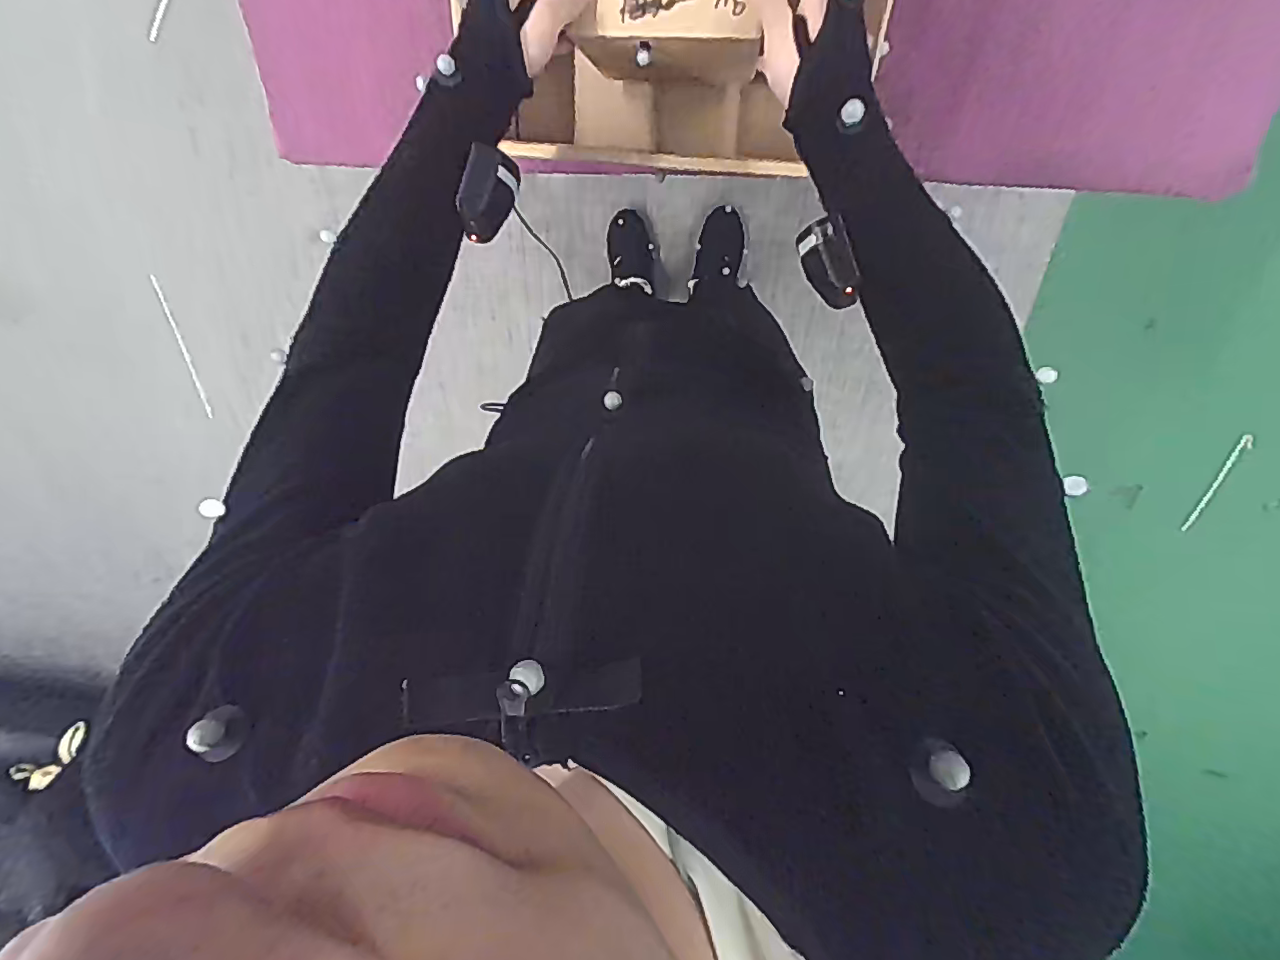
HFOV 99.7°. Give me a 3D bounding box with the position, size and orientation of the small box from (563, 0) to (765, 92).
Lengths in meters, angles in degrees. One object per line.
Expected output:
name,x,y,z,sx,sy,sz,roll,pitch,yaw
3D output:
small box,0.034,-0.475,0.483,0.168,0.176,0.179,7,115,7
